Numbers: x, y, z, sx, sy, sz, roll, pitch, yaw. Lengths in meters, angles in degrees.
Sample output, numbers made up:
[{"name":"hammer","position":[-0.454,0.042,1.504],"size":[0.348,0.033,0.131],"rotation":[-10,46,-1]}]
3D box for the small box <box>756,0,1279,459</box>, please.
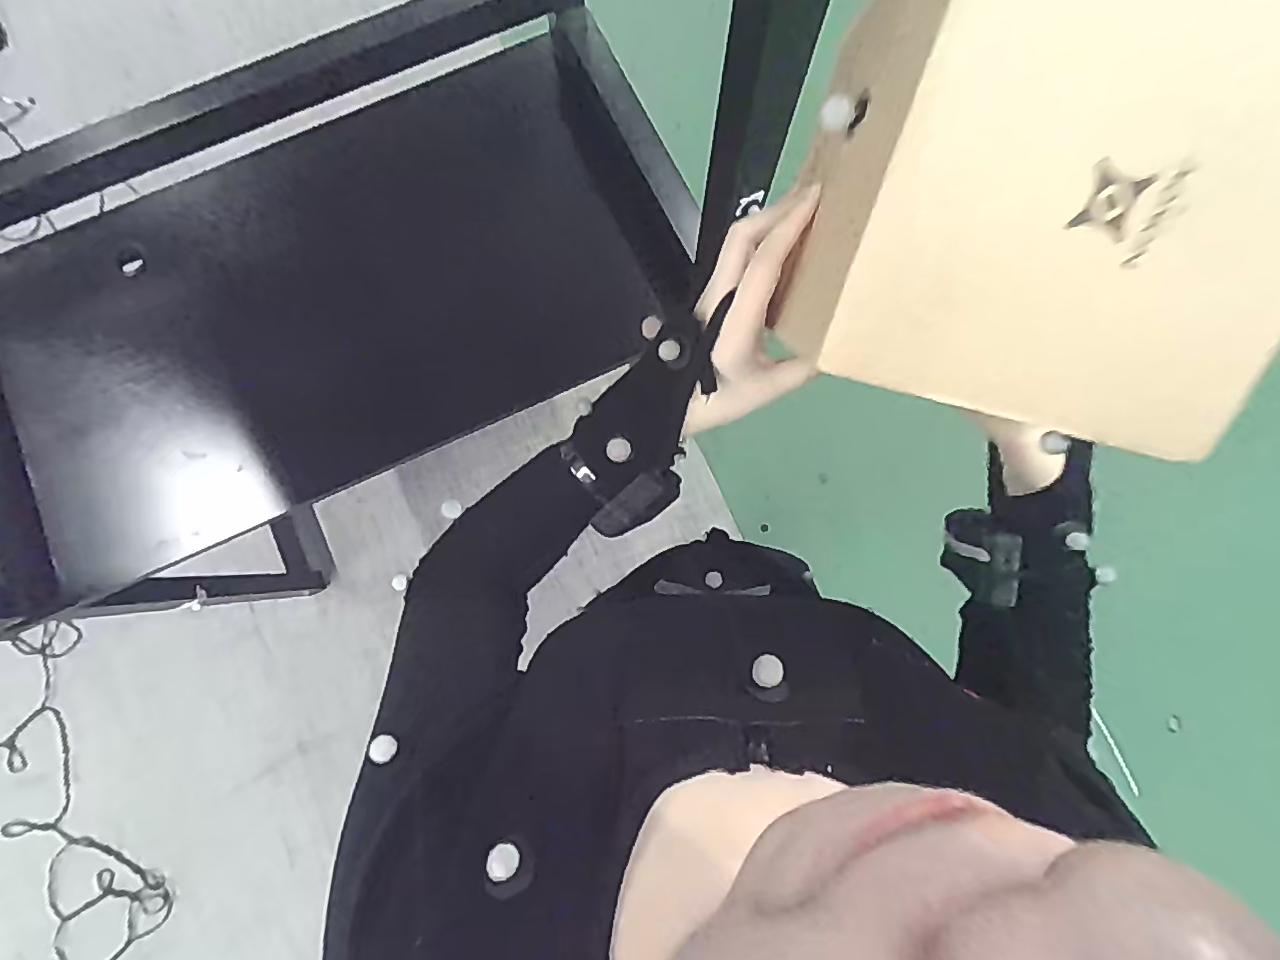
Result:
[{"name":"small box","position":[0.174,-0.130,0.284],"size":[0.179,0.176,0.168],"rotation":[12,112,-4]}]
